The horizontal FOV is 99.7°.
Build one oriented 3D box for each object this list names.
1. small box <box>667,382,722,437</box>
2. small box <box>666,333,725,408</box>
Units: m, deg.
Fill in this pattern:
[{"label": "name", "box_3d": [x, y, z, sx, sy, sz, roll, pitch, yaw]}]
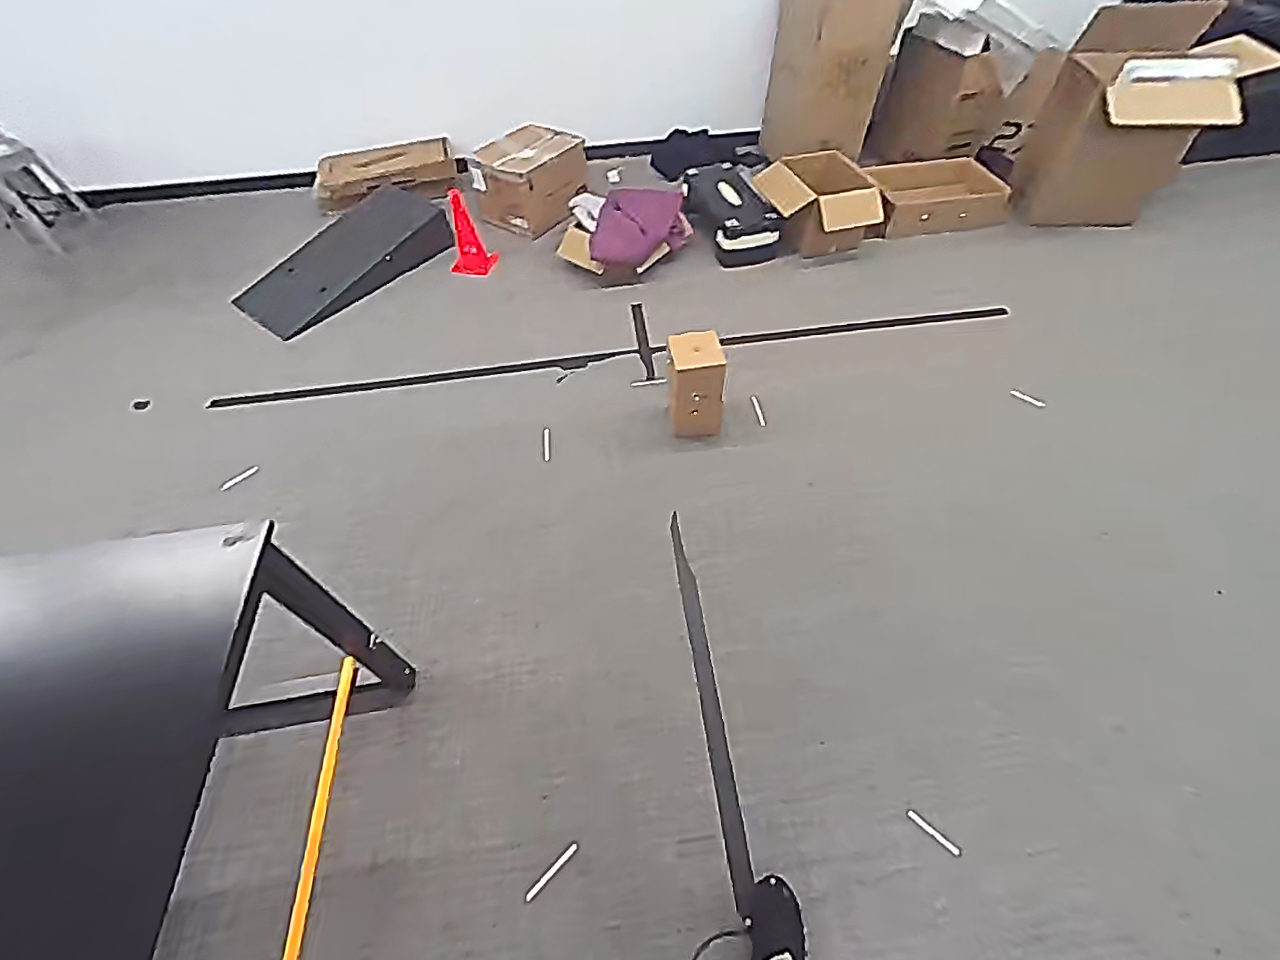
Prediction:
[{"label": "small box", "box_3d": [0.192, -0.272, 1.960, 0.179, 0.176, 0.168, -4, 53, -2]}, {"label": "small box", "box_3d": [0.182, -0.371, 1.831, 0.168, 0.176, 0.179, -9, 54, -3]}]
